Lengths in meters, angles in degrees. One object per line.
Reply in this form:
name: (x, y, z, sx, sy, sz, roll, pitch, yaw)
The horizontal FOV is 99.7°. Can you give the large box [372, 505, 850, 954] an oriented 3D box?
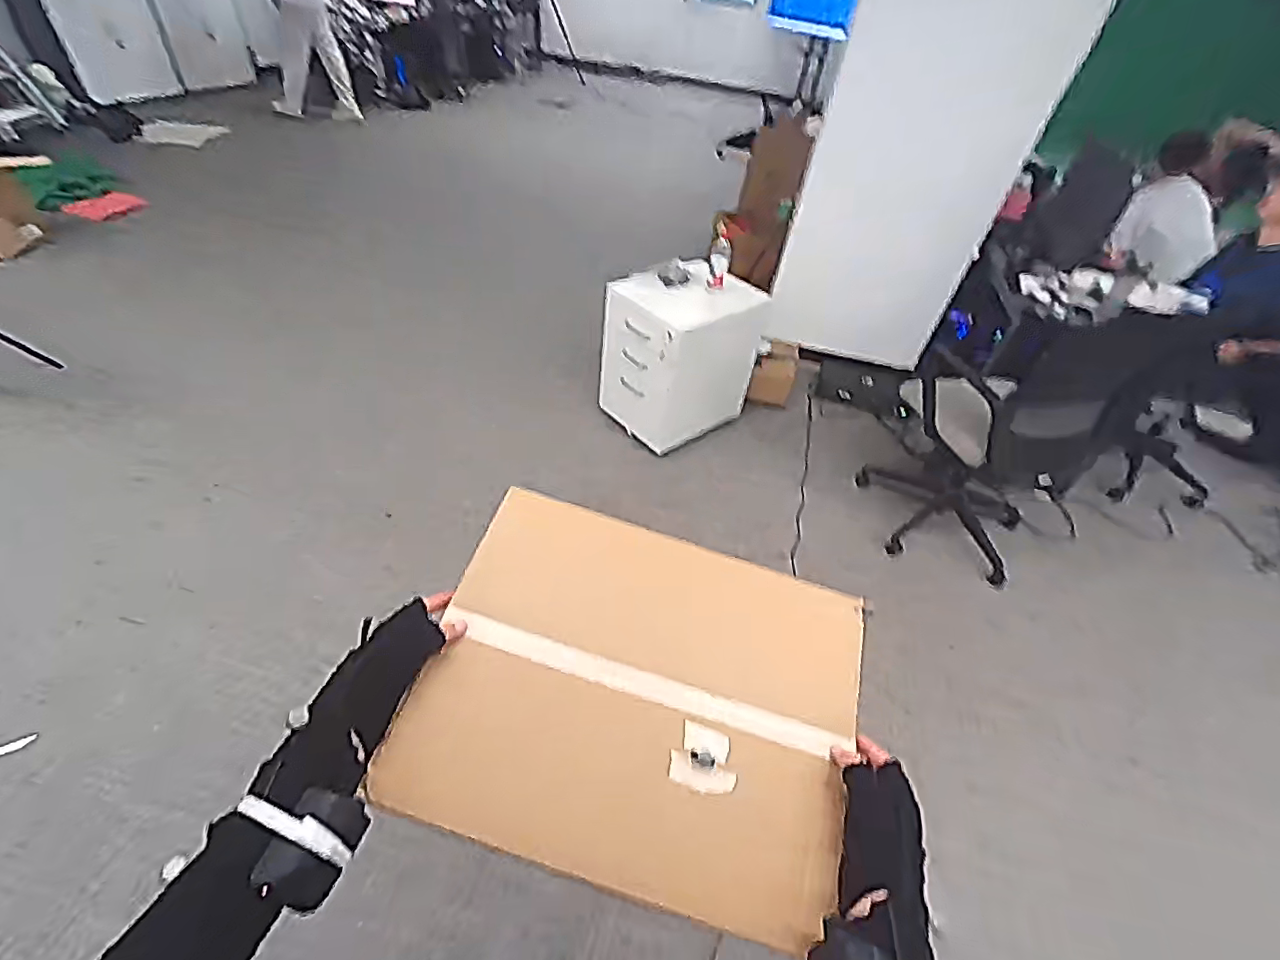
large box: (-0.018, 0.283, 0.647, 0.408, 0.320, 0.320, 18, 58, 2)
